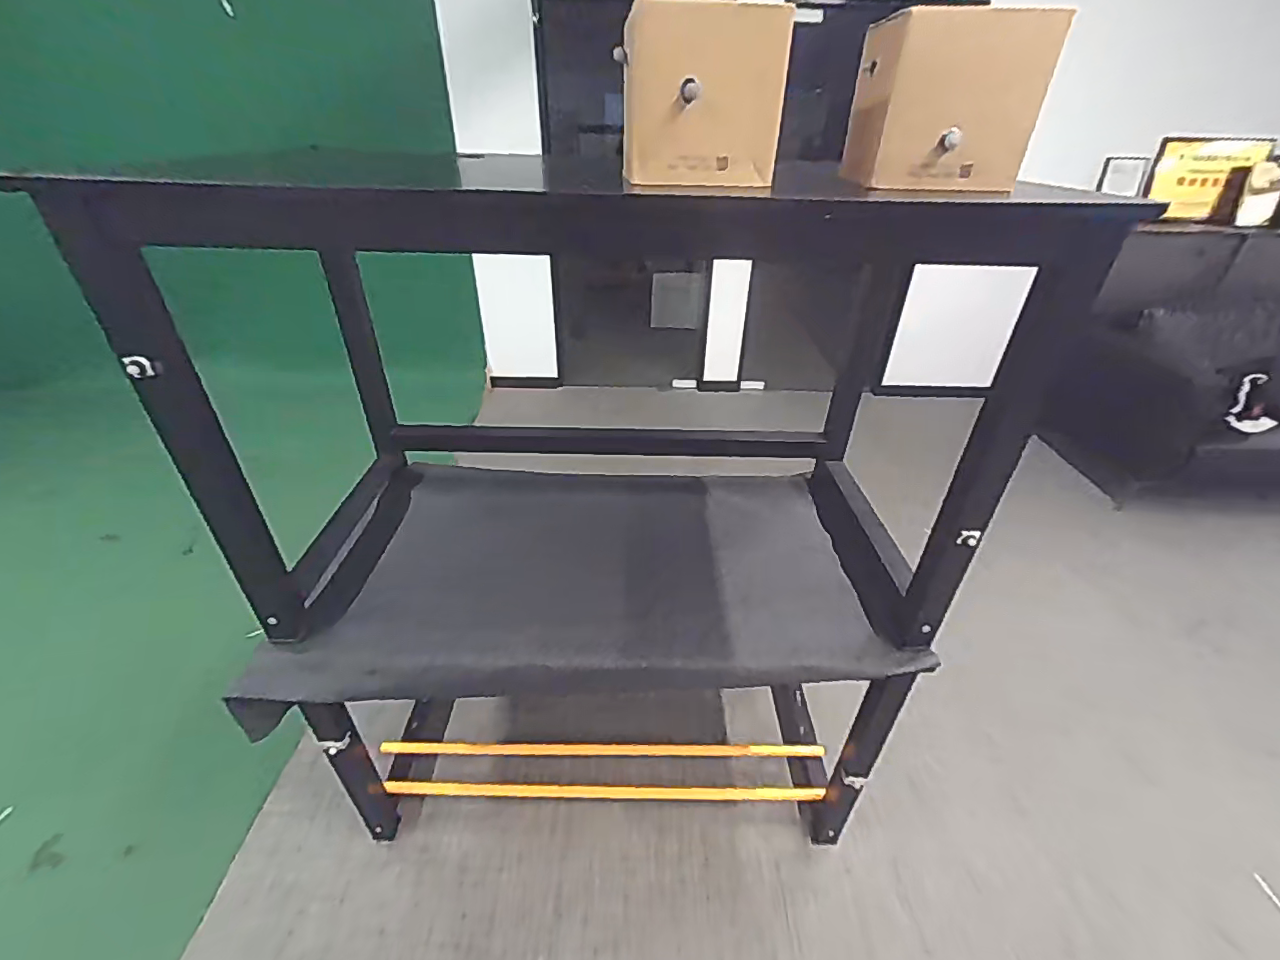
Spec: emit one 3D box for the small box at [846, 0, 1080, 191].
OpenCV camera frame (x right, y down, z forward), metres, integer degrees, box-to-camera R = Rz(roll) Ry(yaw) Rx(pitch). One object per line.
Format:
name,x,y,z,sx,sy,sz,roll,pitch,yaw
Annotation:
small box,0.364,-0.459,0.657,0.168,0.176,0.179,3,35,4

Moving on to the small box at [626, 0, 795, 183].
small box,0.071,-0.458,0.650,0.168,0.176,0.179,-2,33,-5
